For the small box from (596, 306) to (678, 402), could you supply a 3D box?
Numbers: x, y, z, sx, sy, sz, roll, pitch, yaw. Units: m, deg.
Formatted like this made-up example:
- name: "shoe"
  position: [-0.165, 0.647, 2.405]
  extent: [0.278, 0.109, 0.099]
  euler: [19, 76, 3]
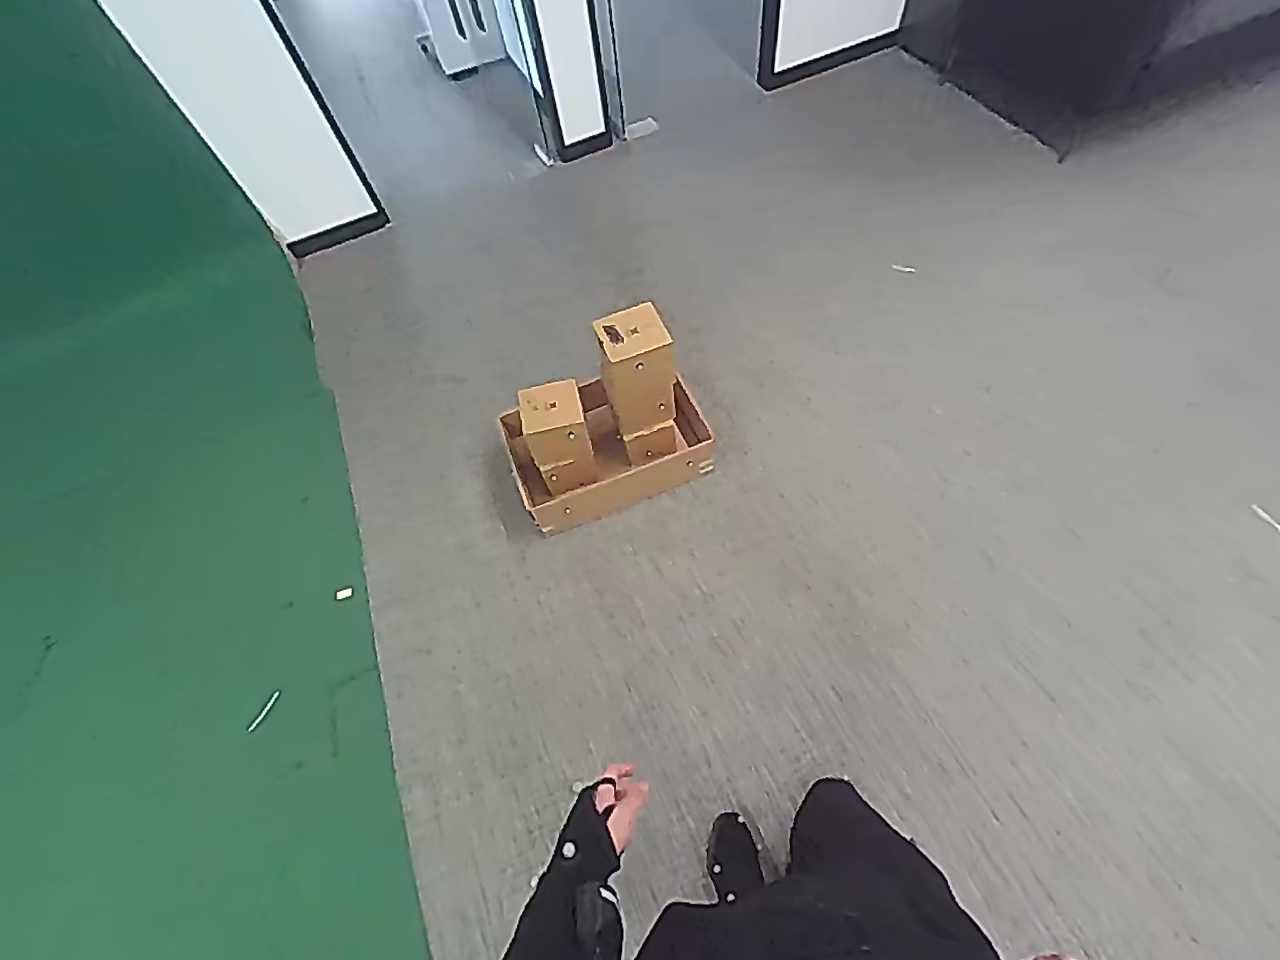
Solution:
- name: "small box"
  position: [-0.005, -0.343, 1.499]
  extent: [0.179, 0.176, 0.168]
  euler: [-20, 60, -5]
